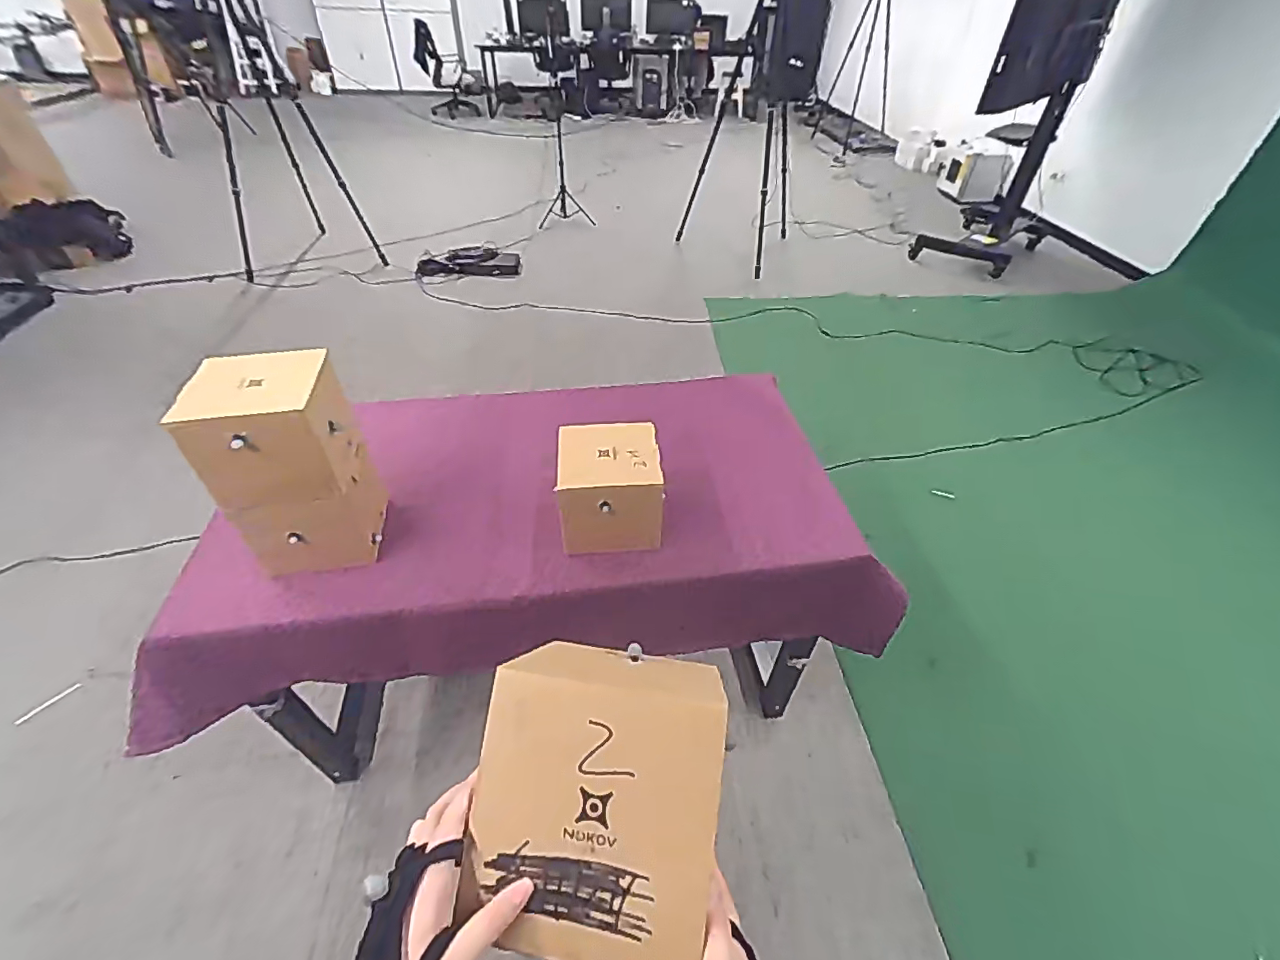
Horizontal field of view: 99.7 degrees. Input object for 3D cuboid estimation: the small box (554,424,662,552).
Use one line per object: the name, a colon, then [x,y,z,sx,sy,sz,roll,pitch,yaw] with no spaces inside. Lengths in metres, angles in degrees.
small box: [-0.056,0.017,0.977,0.179,0.176,0.168,-2,44,-4]

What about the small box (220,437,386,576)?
small box: [-0.560,0.045,0.932,0.179,0.176,0.168,-8,44,-8]

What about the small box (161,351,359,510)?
small box: [-0.552,-0.074,0.822,0.179,0.176,0.168,-8,44,-9]
